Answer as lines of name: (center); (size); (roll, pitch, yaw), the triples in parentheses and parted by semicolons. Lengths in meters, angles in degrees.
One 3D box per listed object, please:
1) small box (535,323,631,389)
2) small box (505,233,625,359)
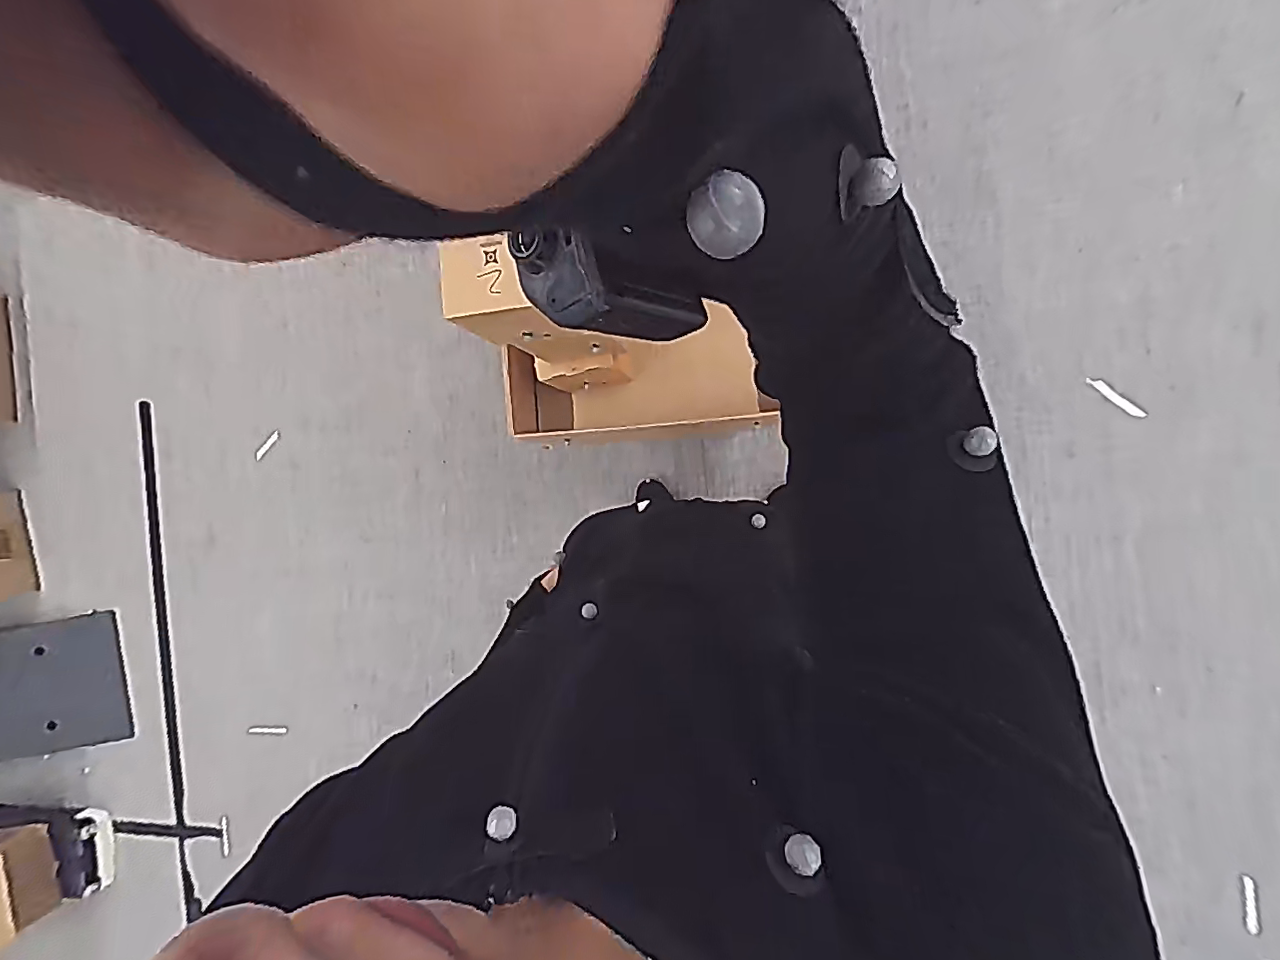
small box: (-0.124, -0.306, 1.164); (0.168, 0.176, 0.179); (-9, 89, 12)
small box: (-0.128, -0.328, 0.997); (0.179, 0.176, 0.168); (-4, 89, 12)
